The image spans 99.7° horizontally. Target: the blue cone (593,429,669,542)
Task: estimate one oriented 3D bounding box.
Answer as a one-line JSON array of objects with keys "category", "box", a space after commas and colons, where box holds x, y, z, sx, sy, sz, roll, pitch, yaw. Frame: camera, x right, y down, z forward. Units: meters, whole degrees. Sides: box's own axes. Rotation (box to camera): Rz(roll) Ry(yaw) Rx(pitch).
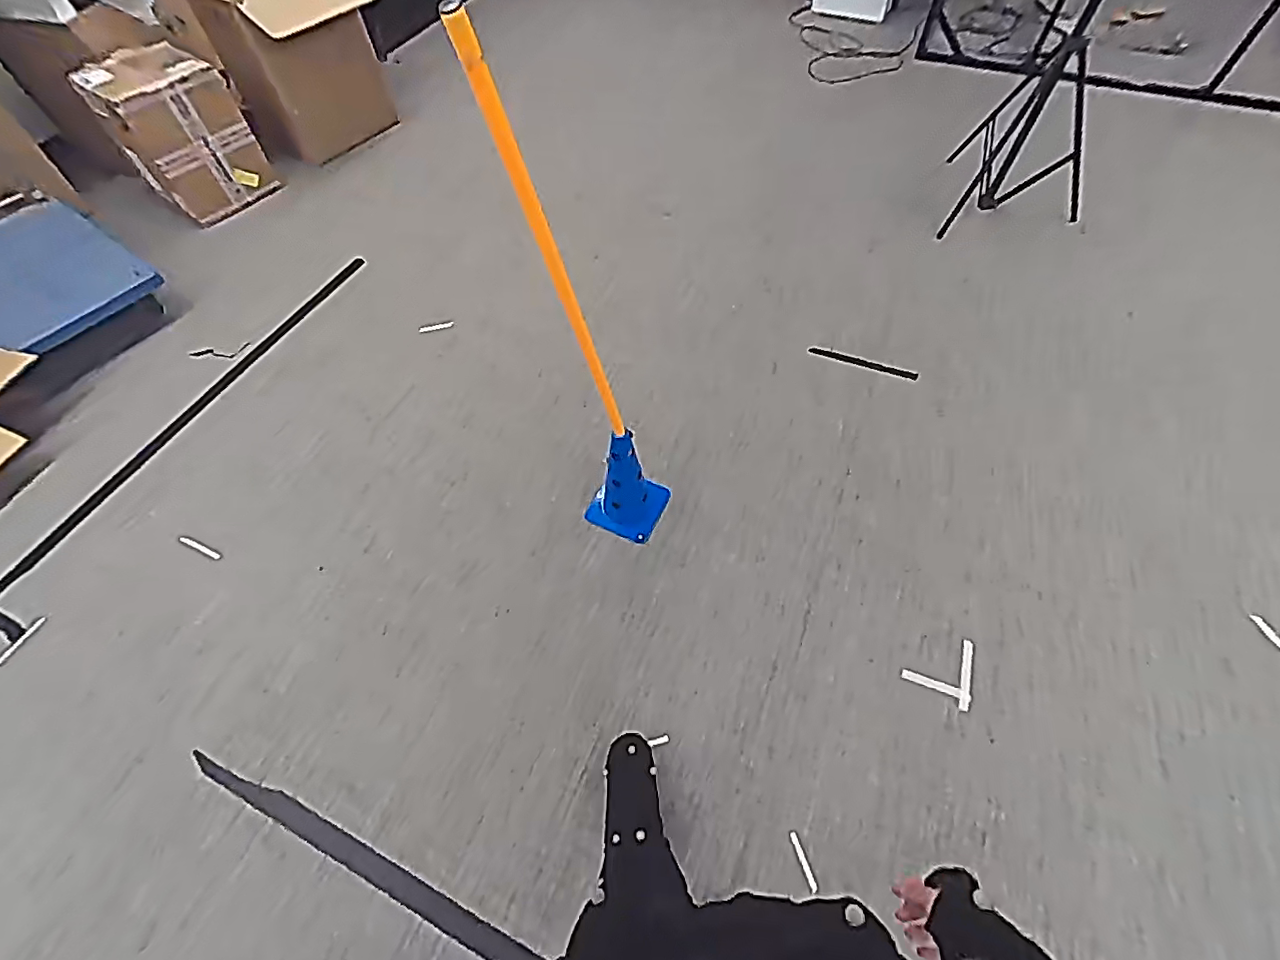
[{"category": "blue cone", "box": [-0.031, -0.012, 1.431, 0.192, 0.380, 0.193, 24, 62, 15]}]
